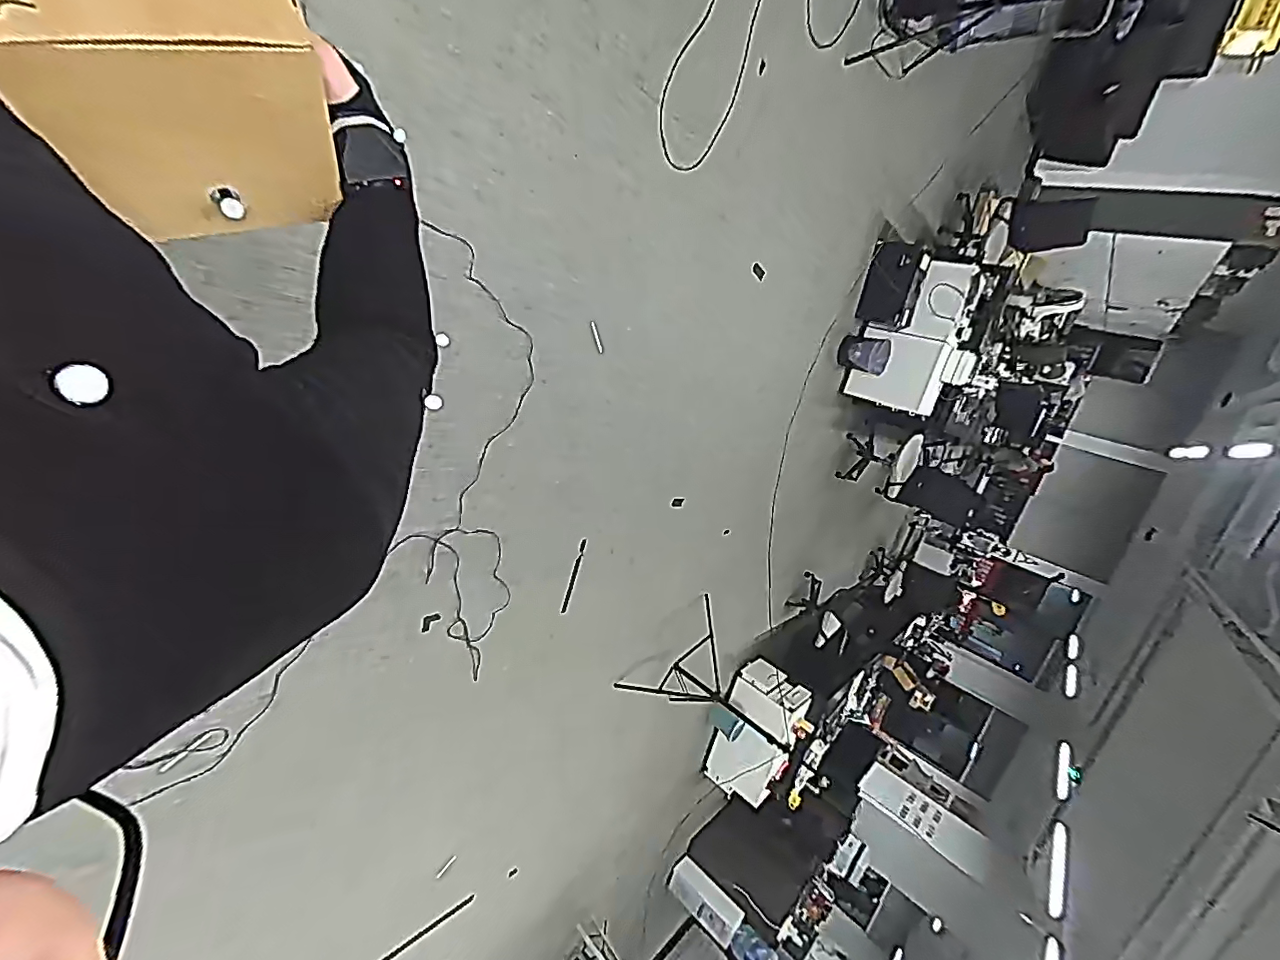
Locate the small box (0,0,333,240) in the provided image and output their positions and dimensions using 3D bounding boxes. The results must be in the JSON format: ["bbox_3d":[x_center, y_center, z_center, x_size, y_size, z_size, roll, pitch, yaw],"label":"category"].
[{"bbox_3d":[-0.360,-0.317,0.420,0.179,0.176,0.168,-22,84,-26],"label":"small box"}]
